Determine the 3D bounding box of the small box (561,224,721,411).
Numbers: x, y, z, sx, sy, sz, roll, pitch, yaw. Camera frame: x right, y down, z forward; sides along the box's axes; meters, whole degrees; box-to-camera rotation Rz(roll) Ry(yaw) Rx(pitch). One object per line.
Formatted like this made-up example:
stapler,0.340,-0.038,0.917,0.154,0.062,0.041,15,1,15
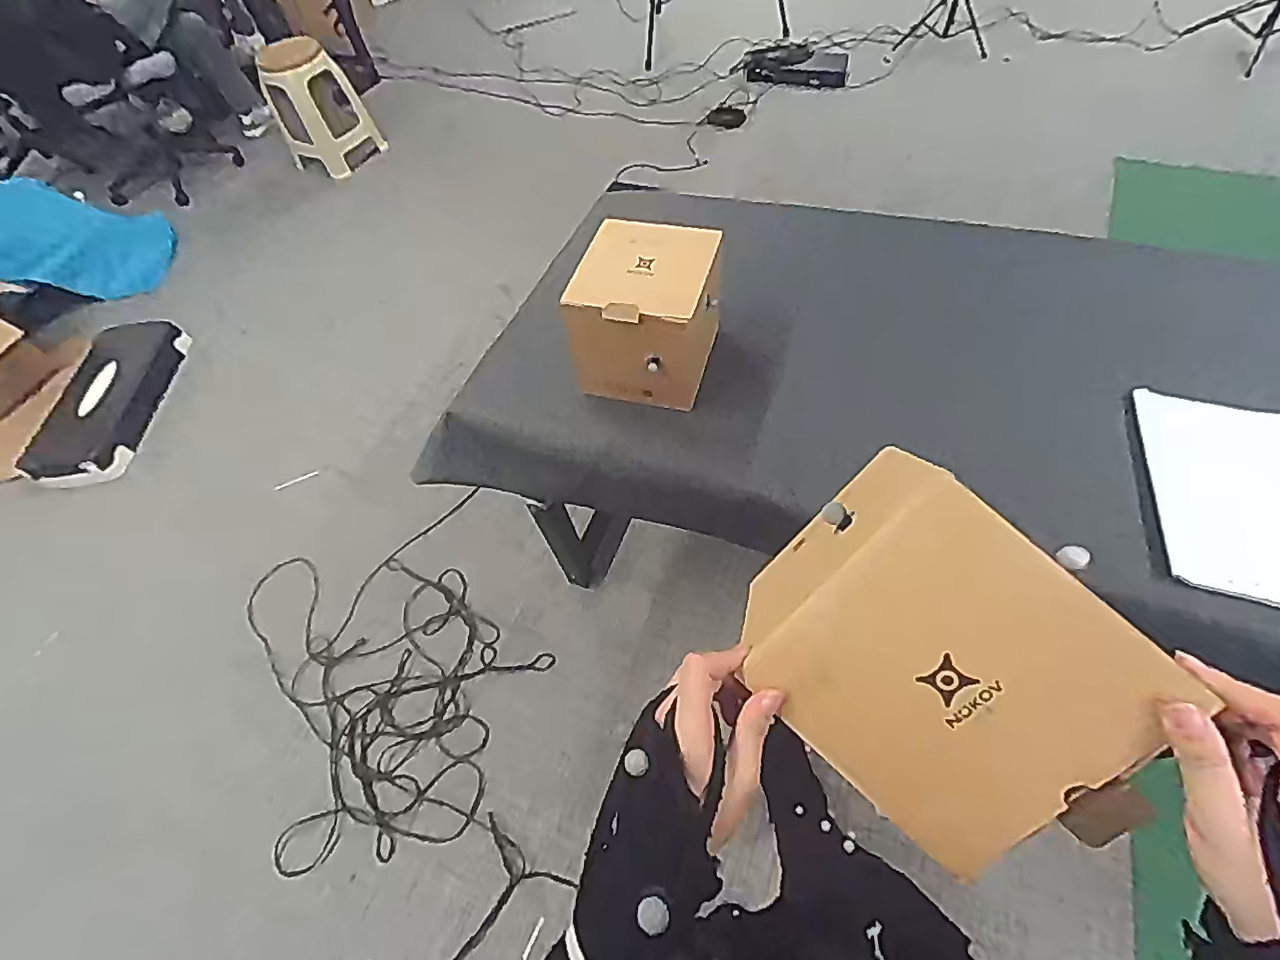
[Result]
small box,0.011,-0.219,0.745,0.168,0.176,0.179,12,58,12
